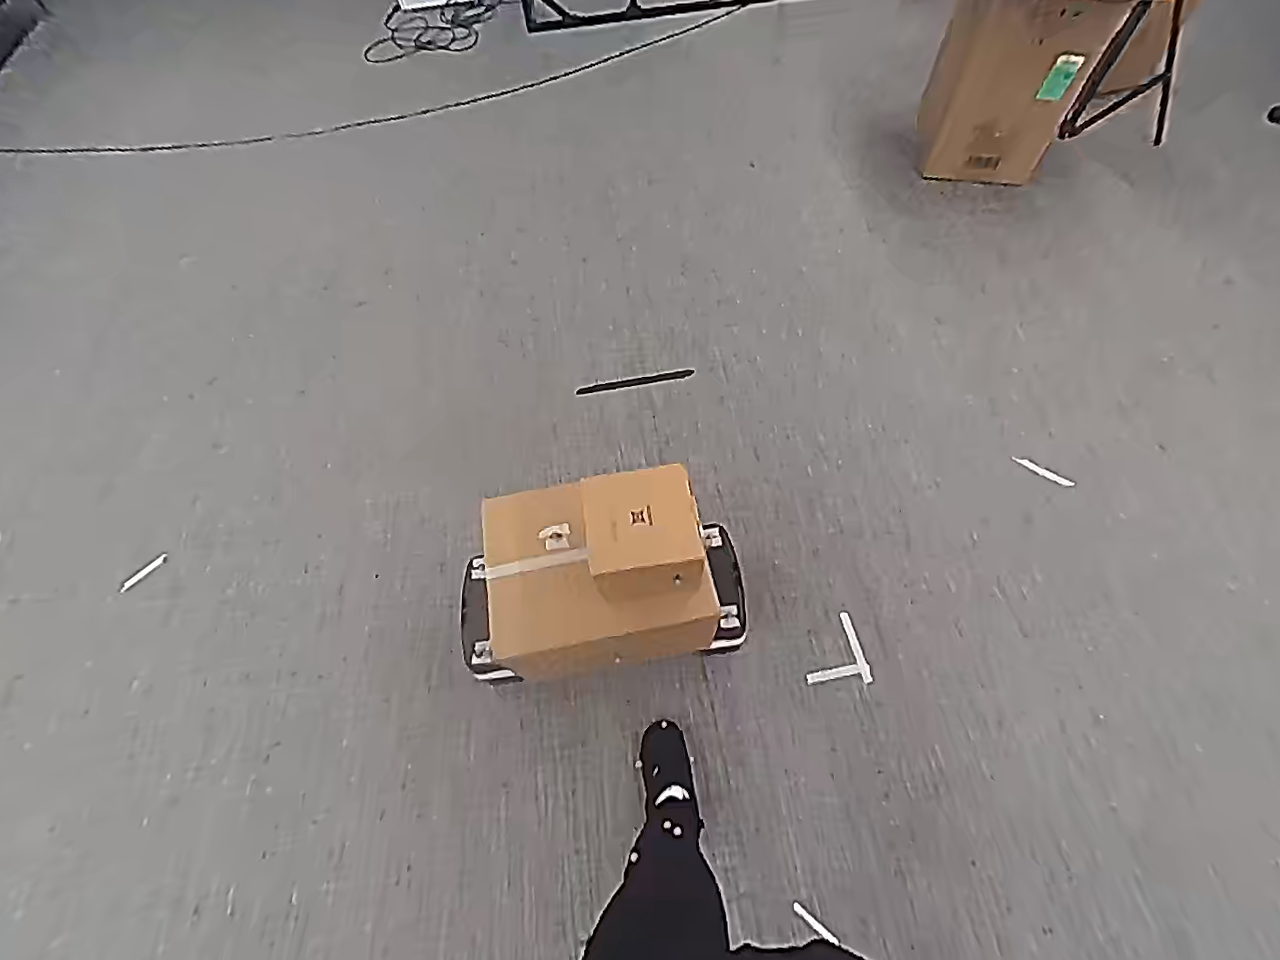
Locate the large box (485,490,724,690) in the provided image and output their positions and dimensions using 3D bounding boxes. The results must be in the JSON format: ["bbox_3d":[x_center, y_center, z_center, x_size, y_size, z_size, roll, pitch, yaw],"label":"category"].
[{"bbox_3d":[-0.067,0.218,1.120,0.408,0.320,0.320,-12,61,-2],"label":"large box"}]

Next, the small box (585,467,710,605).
[{"bbox_3d":[0.011,0.098,0.900,0.179,0.176,0.168,-9,62,0],"label":"small box"}]
